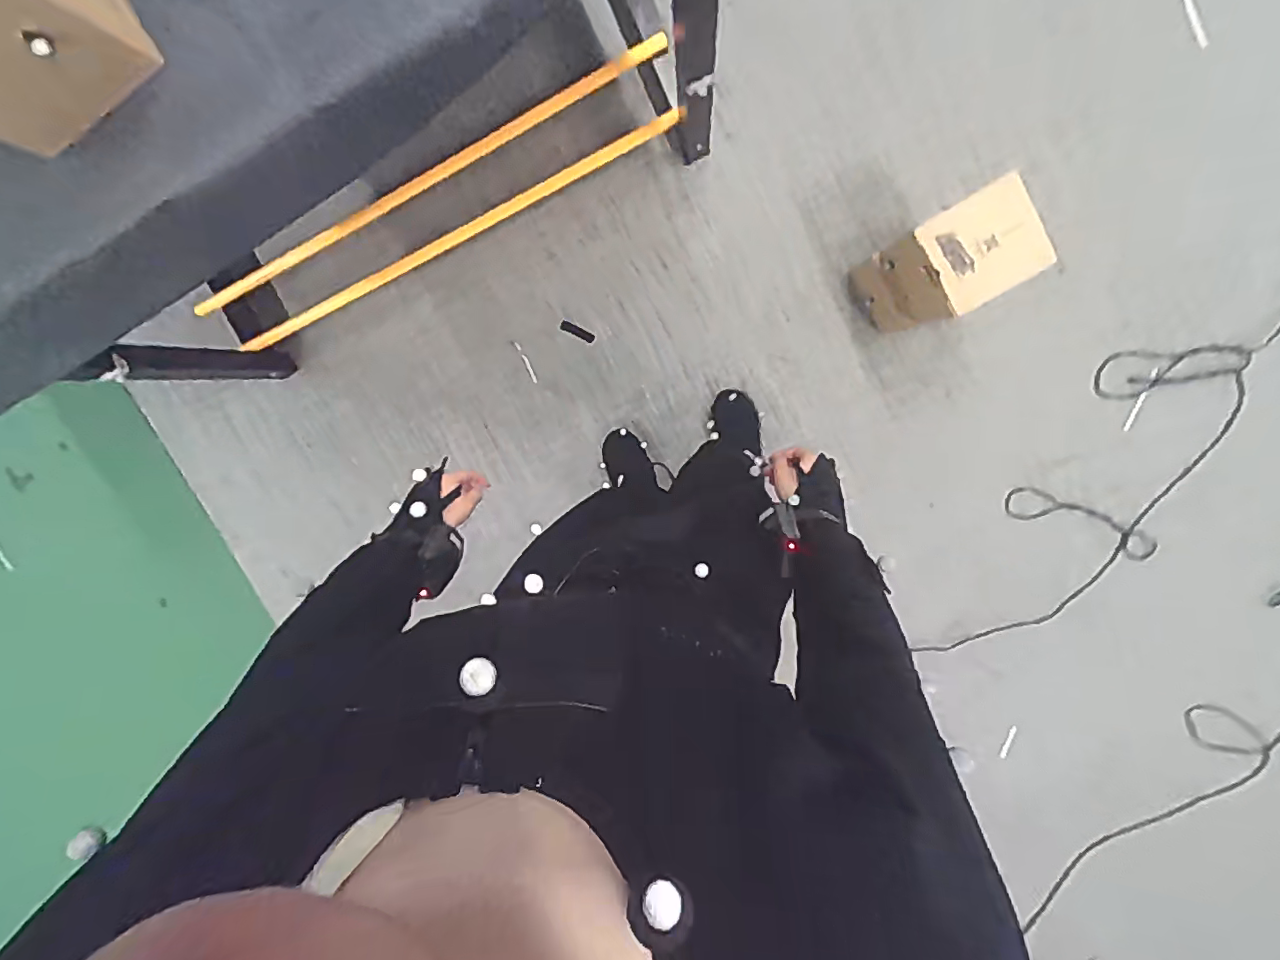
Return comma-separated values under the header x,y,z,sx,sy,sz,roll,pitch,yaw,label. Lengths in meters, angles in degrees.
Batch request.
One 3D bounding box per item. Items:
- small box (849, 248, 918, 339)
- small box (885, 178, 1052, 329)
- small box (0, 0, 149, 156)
x,y,z,sx,sy,sz,roll,pitch,yaw,label
0.568,-0.412,1.126,0.179,0.176,0.168,-30,96,10,small box
0.565,-0.387,0.963,0.179,0.176,0.168,-29,97,8,small box
-0.610,-0.444,0.490,0.179,0.176,0.168,-28,95,10,small box
